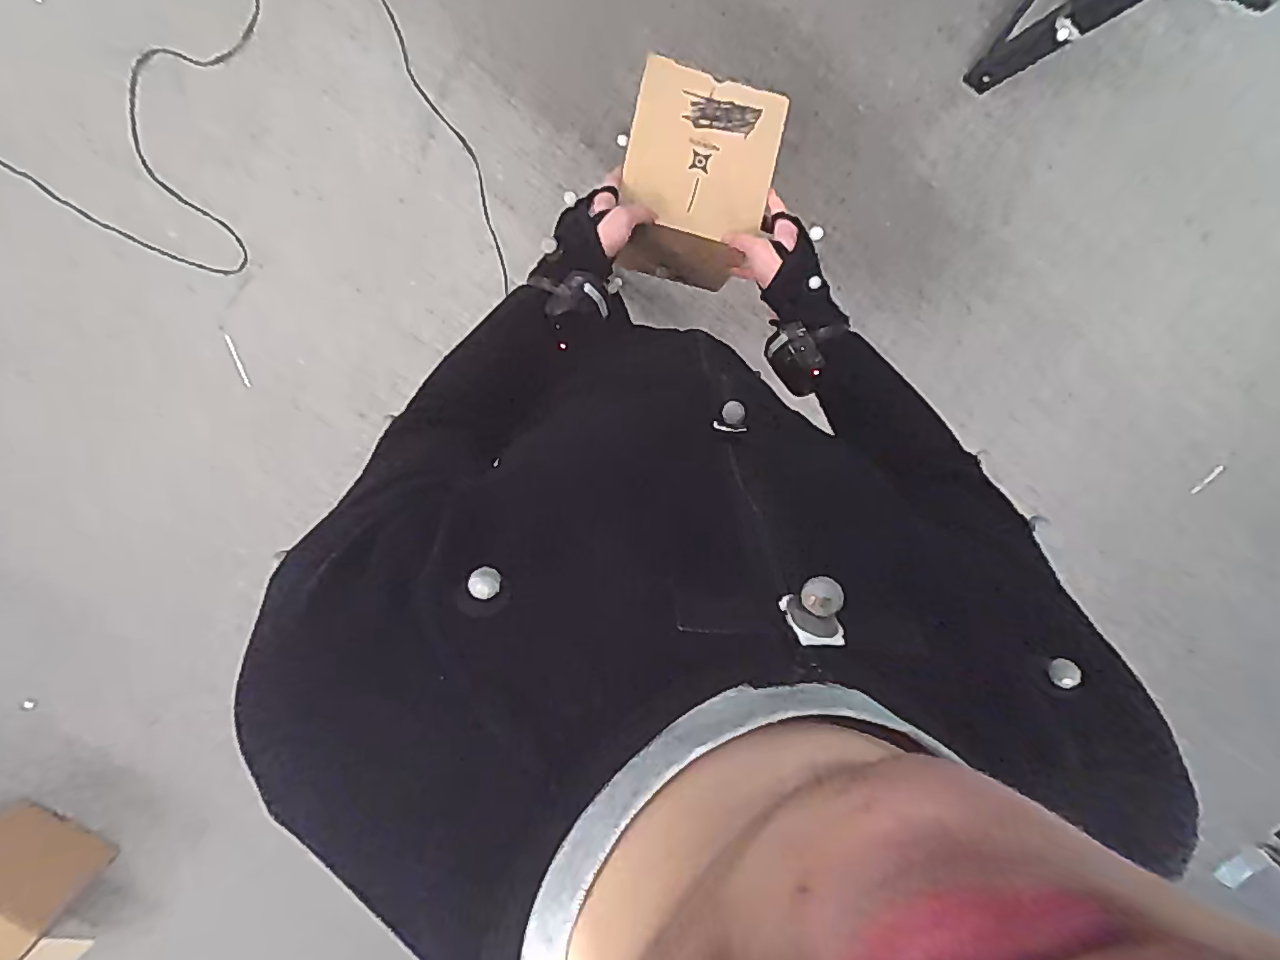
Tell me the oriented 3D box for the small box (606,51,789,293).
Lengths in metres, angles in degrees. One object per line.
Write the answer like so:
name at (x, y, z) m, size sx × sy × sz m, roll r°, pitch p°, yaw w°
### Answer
small box at (0.056, -0.354, 0.659) m, size 0.168 × 0.176 × 0.179 m, roll 13°, pitch 92°, yaw -7°
